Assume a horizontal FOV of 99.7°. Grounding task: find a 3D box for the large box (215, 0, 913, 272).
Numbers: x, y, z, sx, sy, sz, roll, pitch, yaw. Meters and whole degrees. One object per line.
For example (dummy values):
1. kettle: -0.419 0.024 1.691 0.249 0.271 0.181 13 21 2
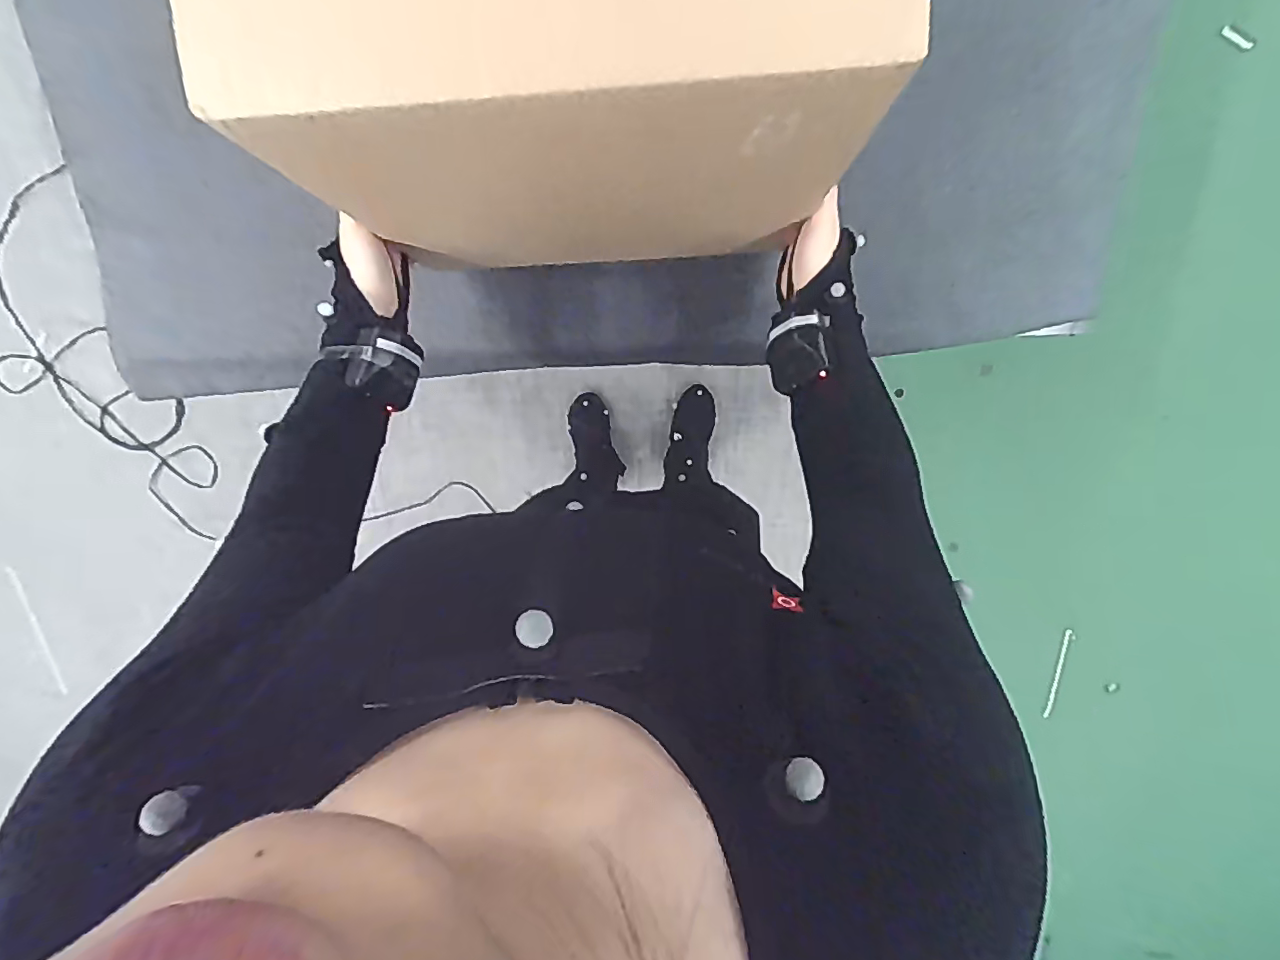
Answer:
1. large box: -0.050 -0.385 0.447 0.408 0.320 0.320 -3 96 2
